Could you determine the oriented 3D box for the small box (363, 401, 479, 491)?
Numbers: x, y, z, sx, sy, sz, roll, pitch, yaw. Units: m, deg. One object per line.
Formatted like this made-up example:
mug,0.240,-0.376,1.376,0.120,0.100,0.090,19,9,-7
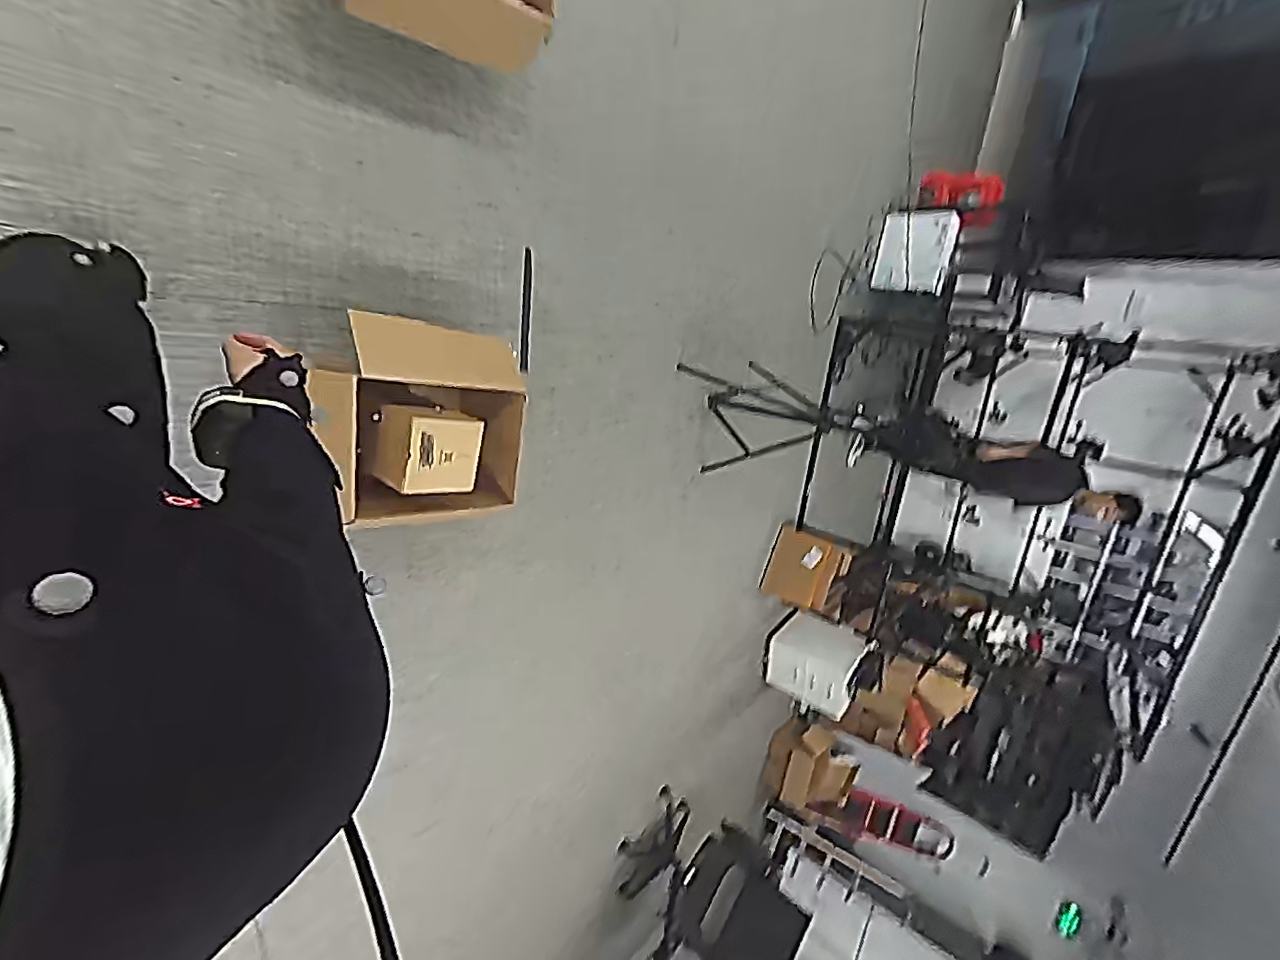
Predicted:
small box,-0.501,-0.077,1.227,0.179,0.176,0.168,-1,109,-53
